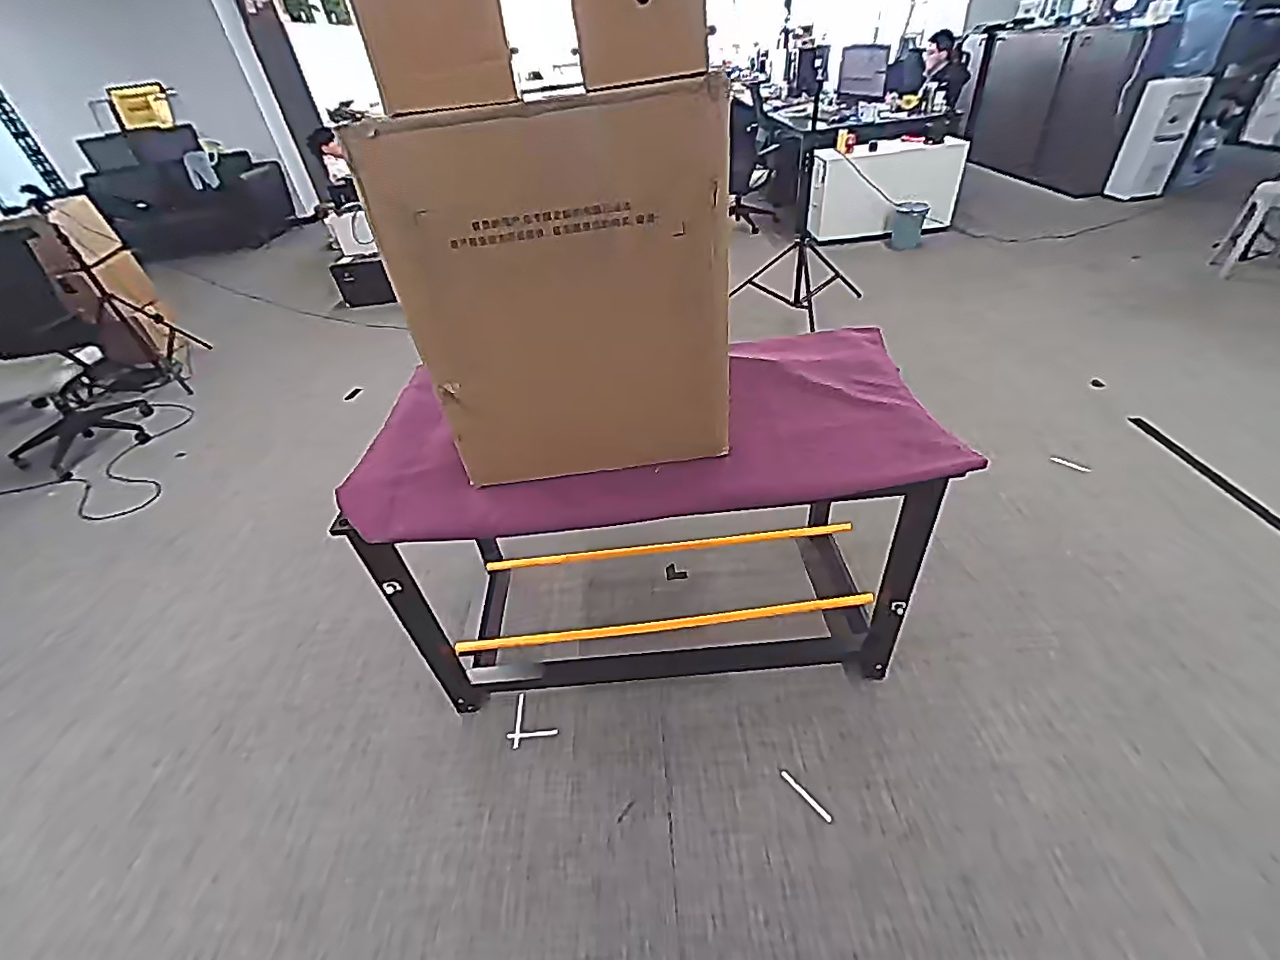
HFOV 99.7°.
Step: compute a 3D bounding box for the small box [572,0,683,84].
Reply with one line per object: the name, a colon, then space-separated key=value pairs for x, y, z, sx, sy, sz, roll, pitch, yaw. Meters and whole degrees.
small box: x=-0.022 y=-0.759 z=0.880 sx=0.168 sy=0.176 sz=0.179 roll=-7 pitch=39 yaw=3
